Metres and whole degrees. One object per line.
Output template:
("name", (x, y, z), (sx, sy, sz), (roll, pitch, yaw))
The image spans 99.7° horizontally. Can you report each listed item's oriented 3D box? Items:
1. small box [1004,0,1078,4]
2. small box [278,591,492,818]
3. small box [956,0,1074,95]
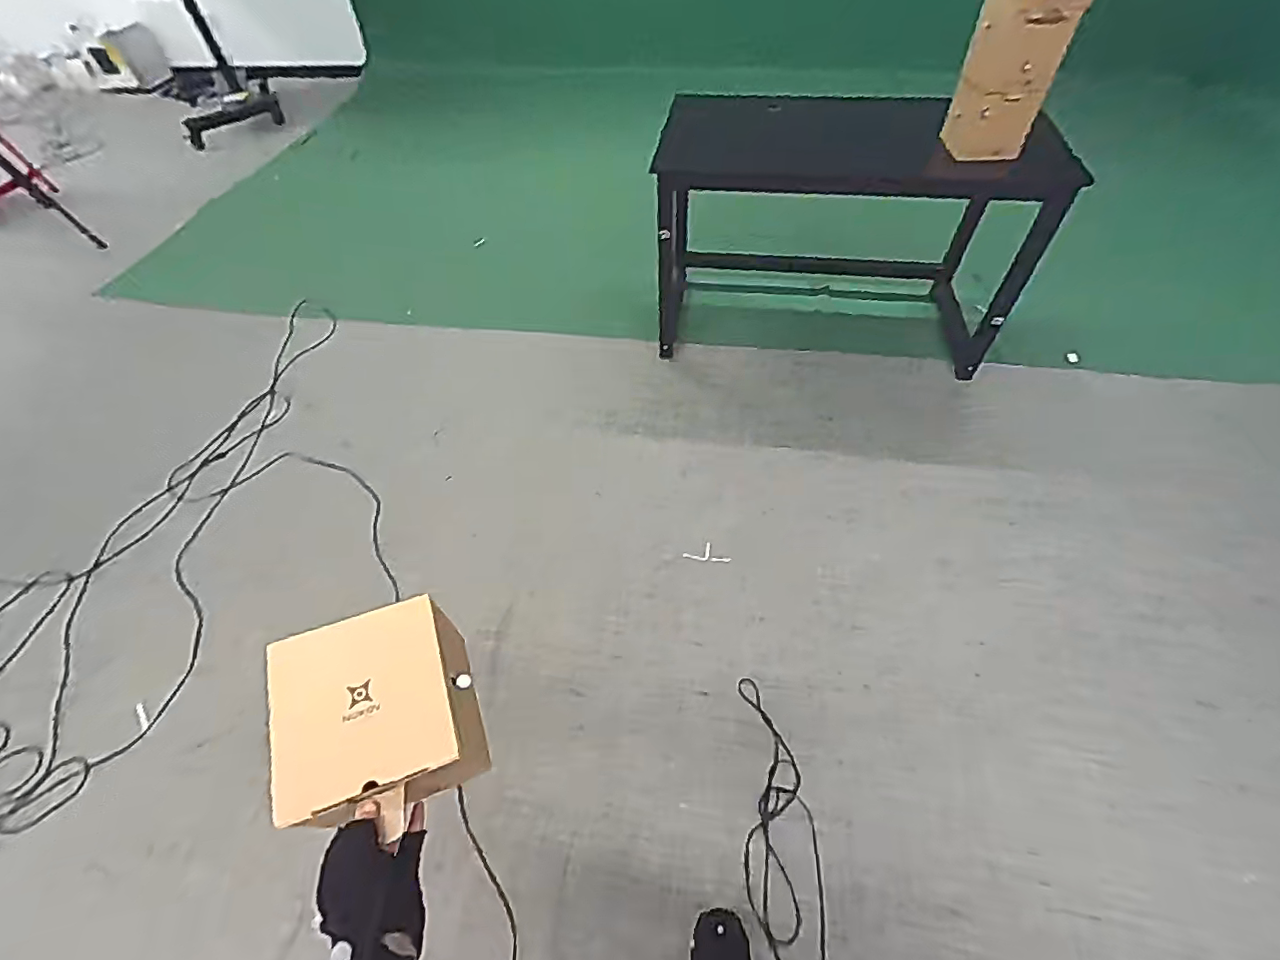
("small box", (0.960, -1.239, 1.265), (0.168, 0.176, 0.179), (0, 51, 3))
("small box", (-0.276, 0.254, 0.608), (0.168, 0.176, 0.179), (-17, 62, -13))
("small box", (0.961, -1.129, 1.407), (0.168, 0.176, 0.179), (-1, 52, 3))
